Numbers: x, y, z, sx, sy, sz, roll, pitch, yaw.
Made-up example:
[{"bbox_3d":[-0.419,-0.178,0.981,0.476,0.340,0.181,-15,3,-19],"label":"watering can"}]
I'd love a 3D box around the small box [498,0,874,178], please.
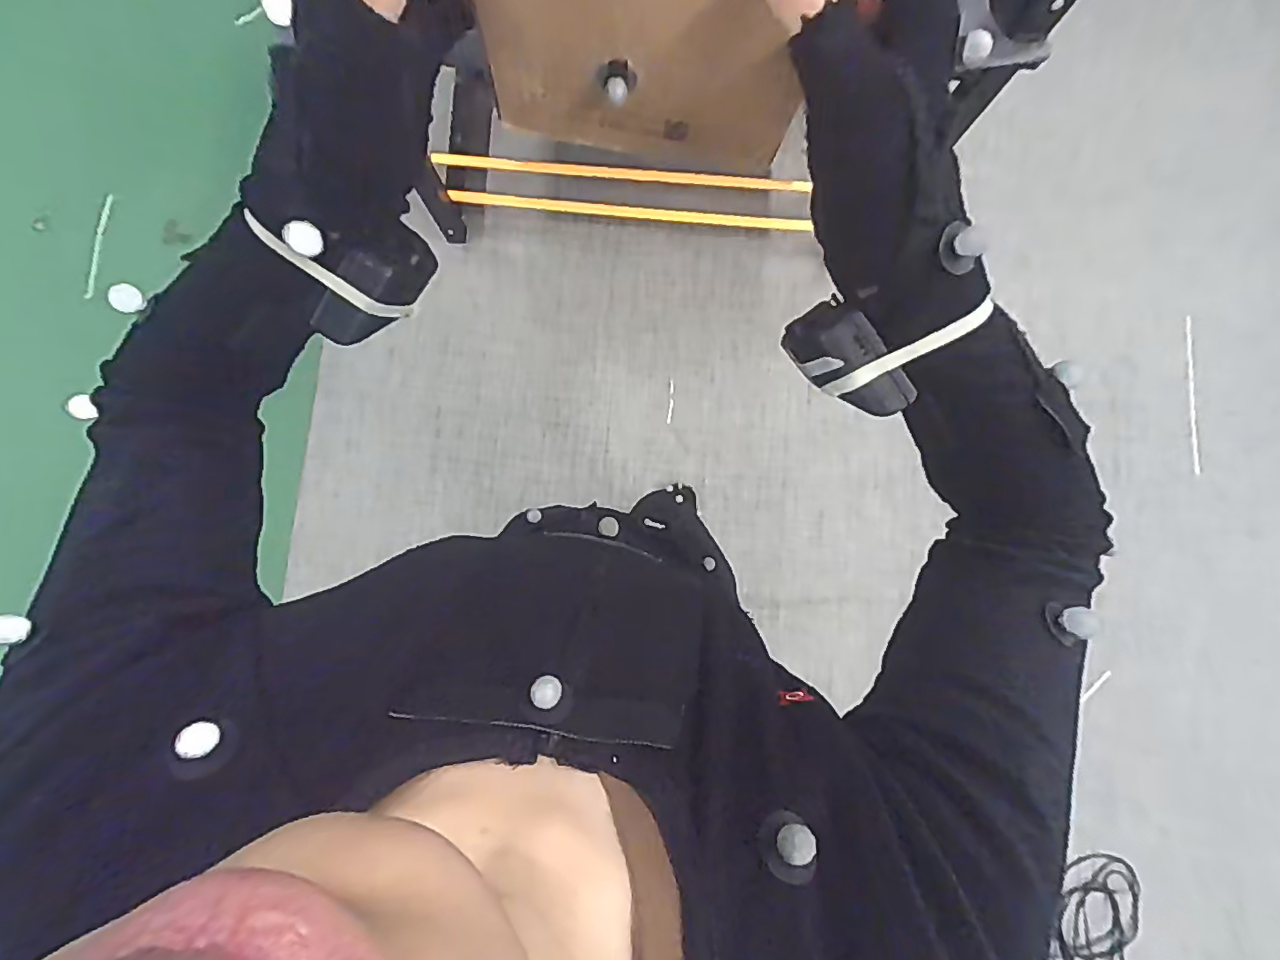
[{"bbox_3d":[0.021,-0.287,0.257,0.168,0.176,0.179,7,87,-5],"label":"small box"}]
